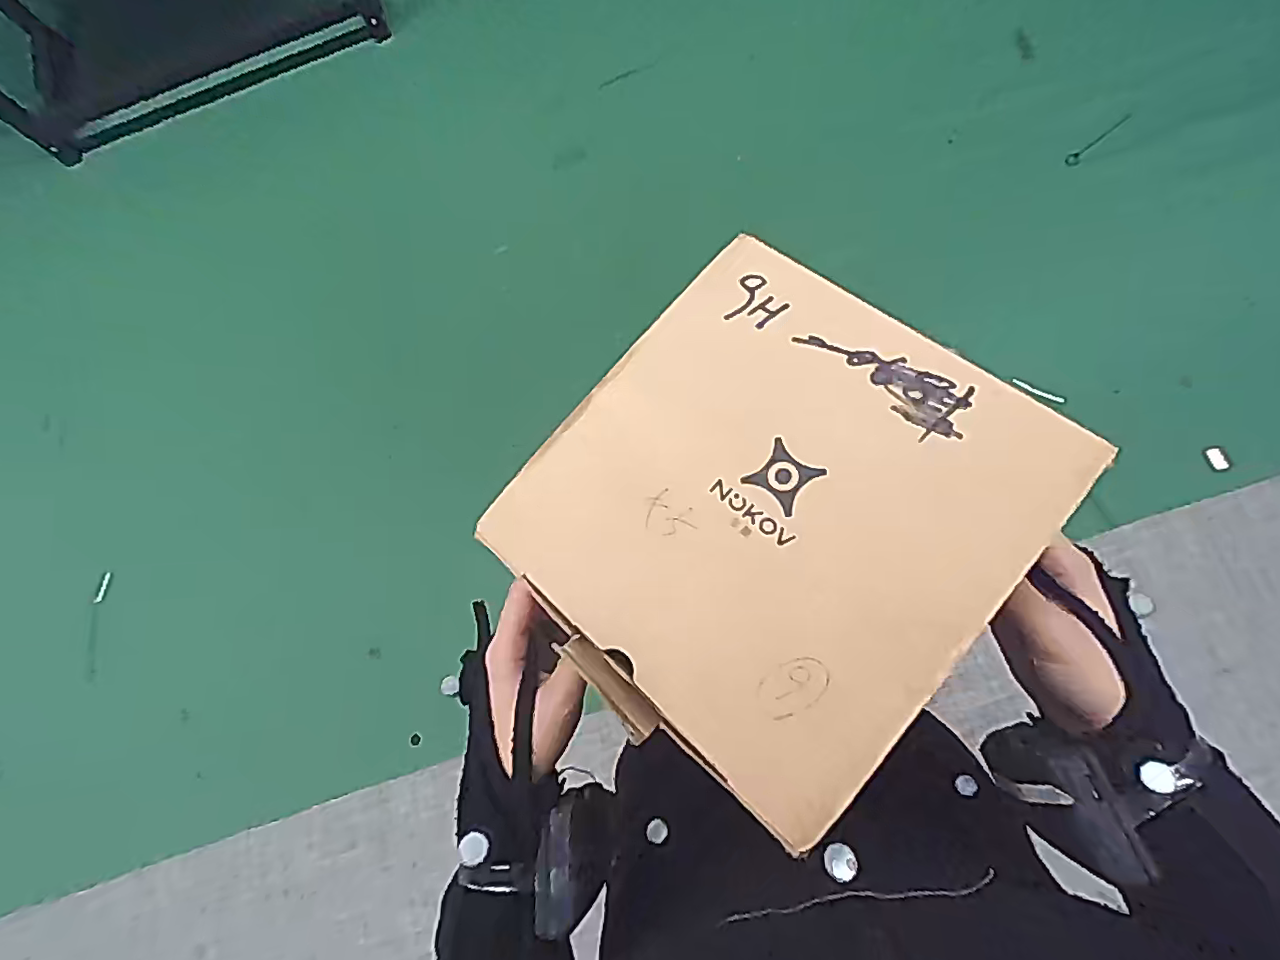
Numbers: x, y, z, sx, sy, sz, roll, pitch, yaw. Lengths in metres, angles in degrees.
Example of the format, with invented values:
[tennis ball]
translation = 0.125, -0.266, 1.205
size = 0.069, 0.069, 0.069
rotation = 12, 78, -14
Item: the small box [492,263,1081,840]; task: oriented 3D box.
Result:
[small box]
translation = 0.064, 0.034, 0.290
size = 0.168, 0.176, 0.179
rotation = 39, 84, 19
